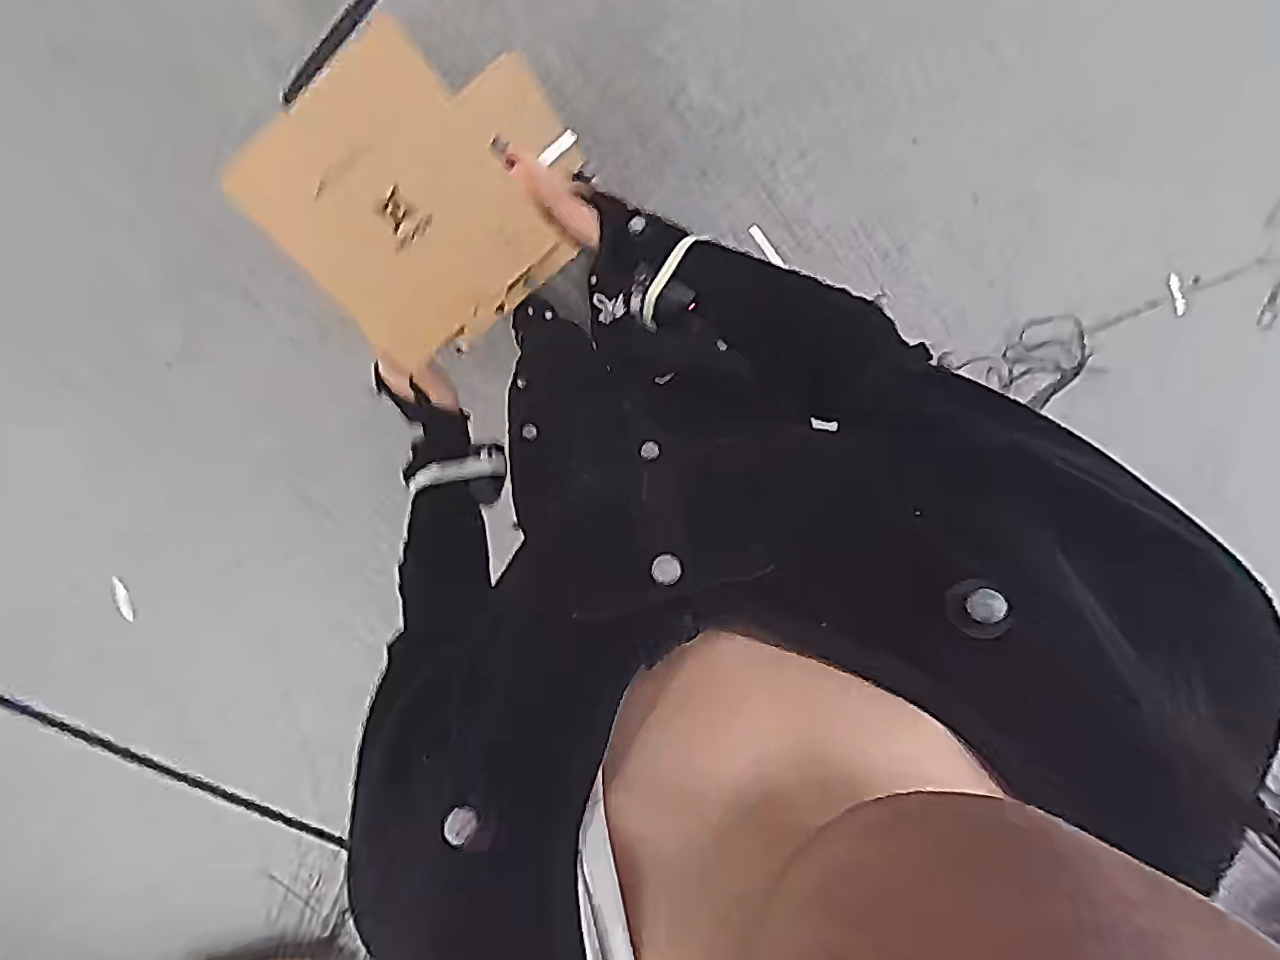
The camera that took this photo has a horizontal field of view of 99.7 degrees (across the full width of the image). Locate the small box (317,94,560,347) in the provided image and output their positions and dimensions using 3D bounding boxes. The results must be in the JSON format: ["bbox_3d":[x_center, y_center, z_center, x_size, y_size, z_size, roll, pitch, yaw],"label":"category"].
[{"bbox_3d":[-0.209,-0.283,0.613,0.168,0.176,0.179,-39,115,8],"label":"small box"}]
